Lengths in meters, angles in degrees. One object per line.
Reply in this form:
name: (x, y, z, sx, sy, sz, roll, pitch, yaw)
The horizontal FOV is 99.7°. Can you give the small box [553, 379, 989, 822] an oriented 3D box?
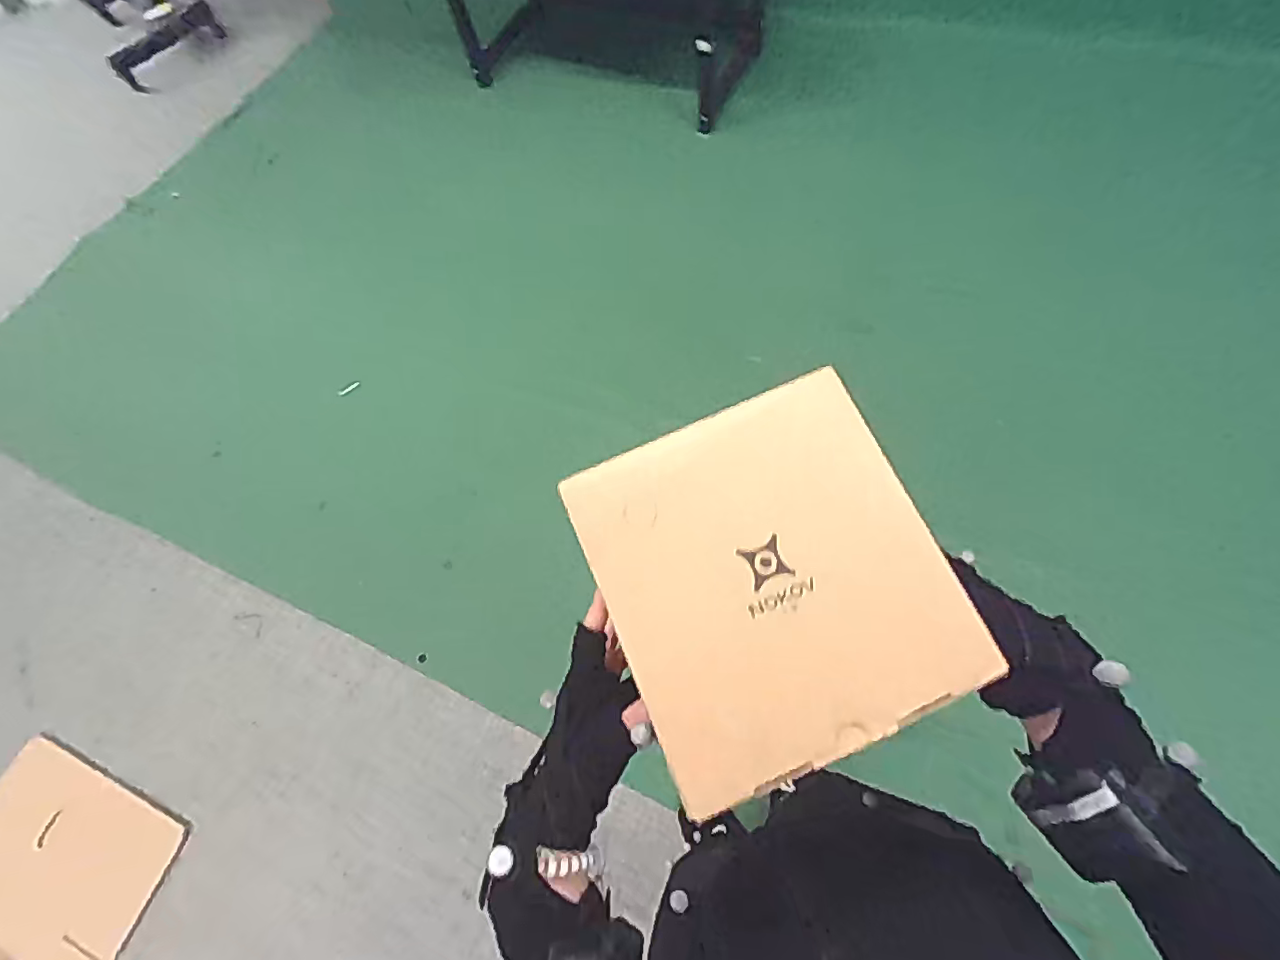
small box: (0.061, 0.070, 0.349, 0.168, 0.176, 0.179, -24, 77, -5)
